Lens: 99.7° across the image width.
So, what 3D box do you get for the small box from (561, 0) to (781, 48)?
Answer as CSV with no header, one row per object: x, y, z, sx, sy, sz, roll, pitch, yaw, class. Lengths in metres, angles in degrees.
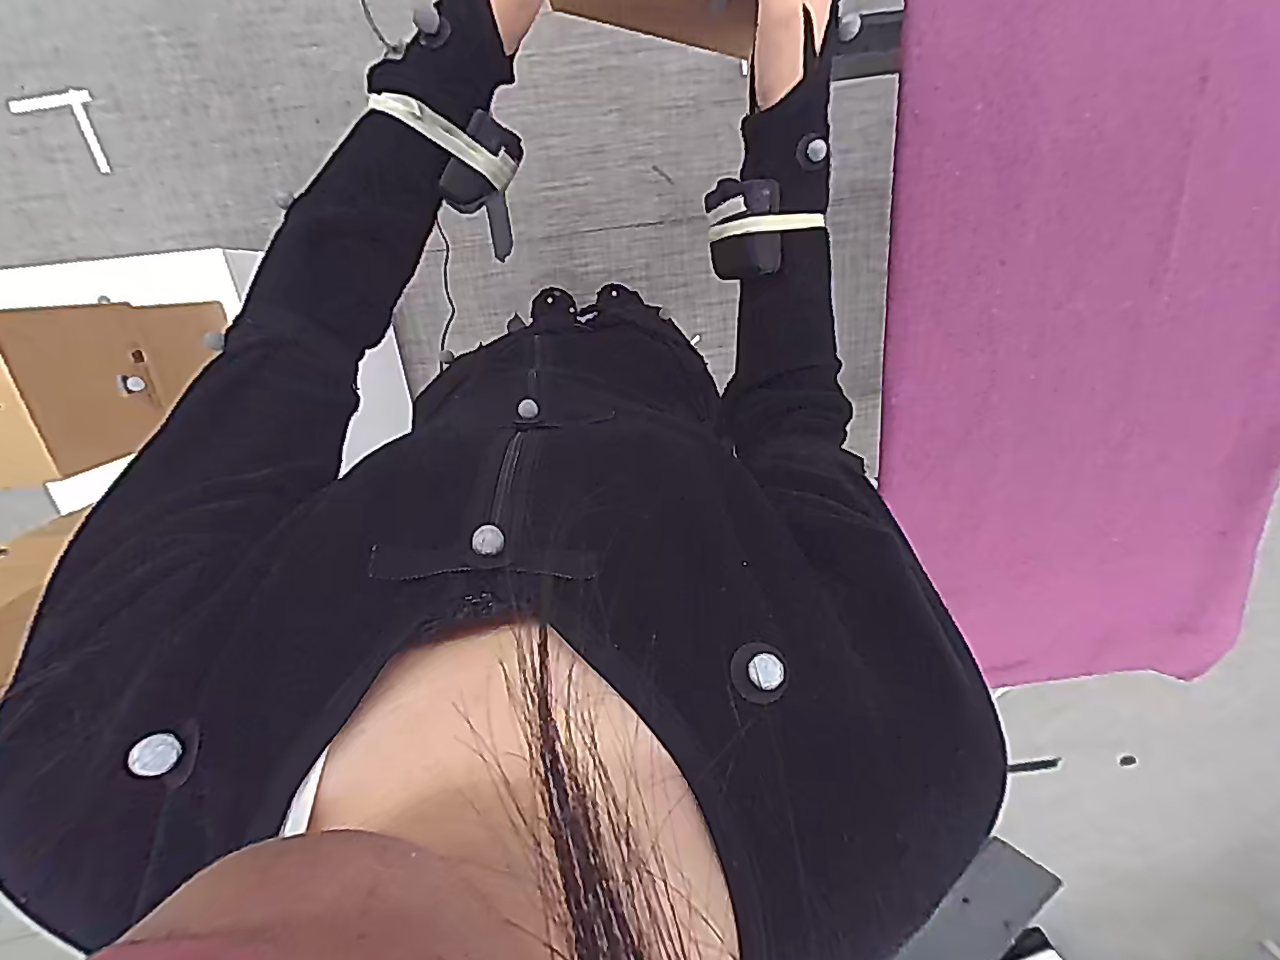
0.031,-0.420,0.351,0.179,0.176,0.168,10,111,-5,small box

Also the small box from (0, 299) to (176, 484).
-0.664,-0.099,0.574,0.179,0.176,0.168,-4,112,-3,small box
